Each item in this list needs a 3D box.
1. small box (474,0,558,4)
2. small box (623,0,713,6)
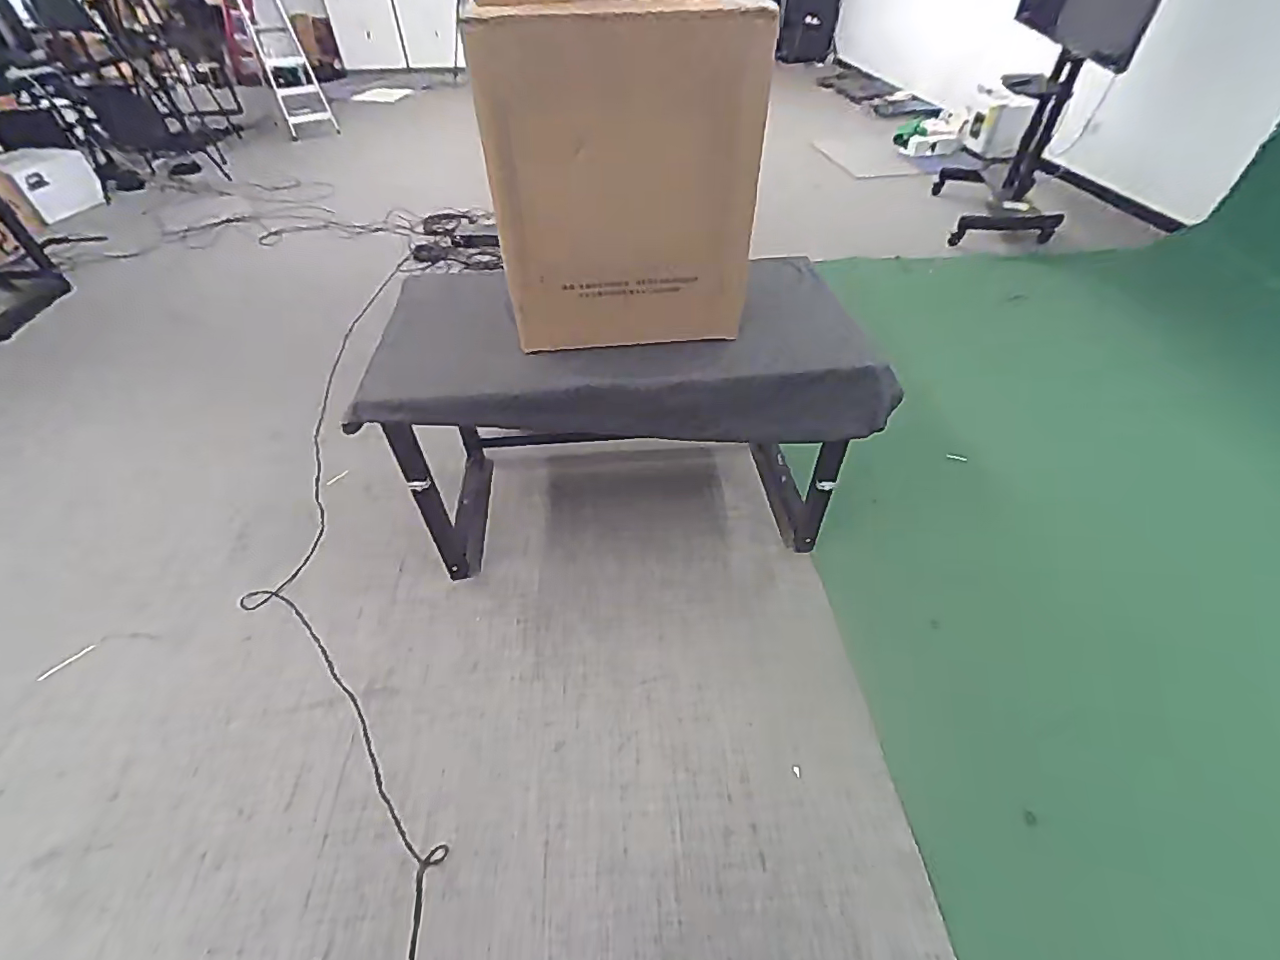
[{"bbox_3d":[-0.217,-0.912,0.897,0.168,0.176,0.179,-12,49,-9],"label":"small box"},{"bbox_3d":[0.044,-0.947,0.942,0.168,0.176,0.179,-8,49,-6],"label":"small box"}]
